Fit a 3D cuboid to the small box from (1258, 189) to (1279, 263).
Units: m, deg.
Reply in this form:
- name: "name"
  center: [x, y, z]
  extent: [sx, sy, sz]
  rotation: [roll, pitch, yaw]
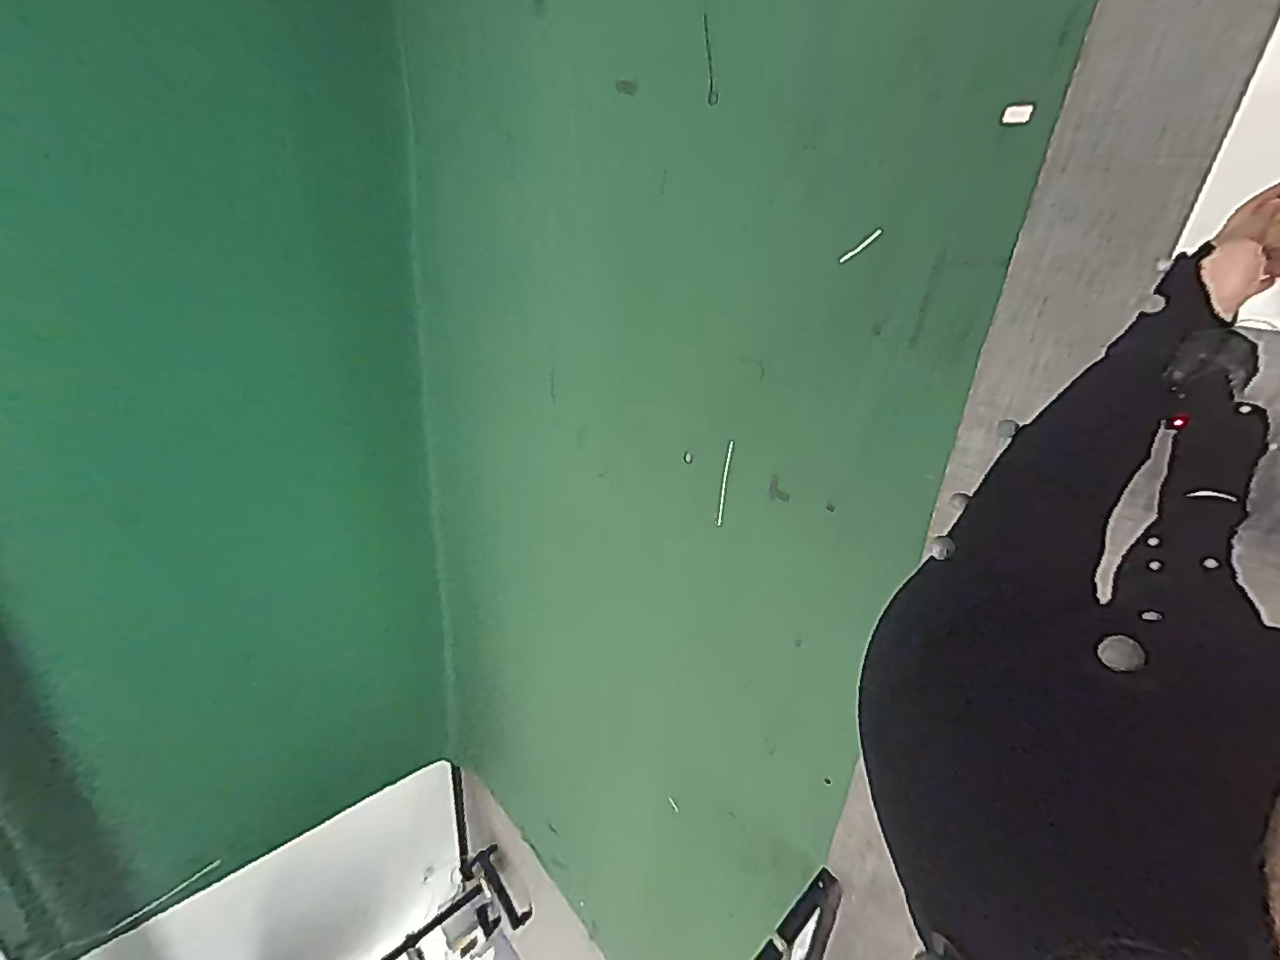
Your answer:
- name: "small box"
  center: [0.580, -0.234, 0.360]
  extent: [0.179, 0.176, 0.168]
  rotation: [31, 115, 38]
